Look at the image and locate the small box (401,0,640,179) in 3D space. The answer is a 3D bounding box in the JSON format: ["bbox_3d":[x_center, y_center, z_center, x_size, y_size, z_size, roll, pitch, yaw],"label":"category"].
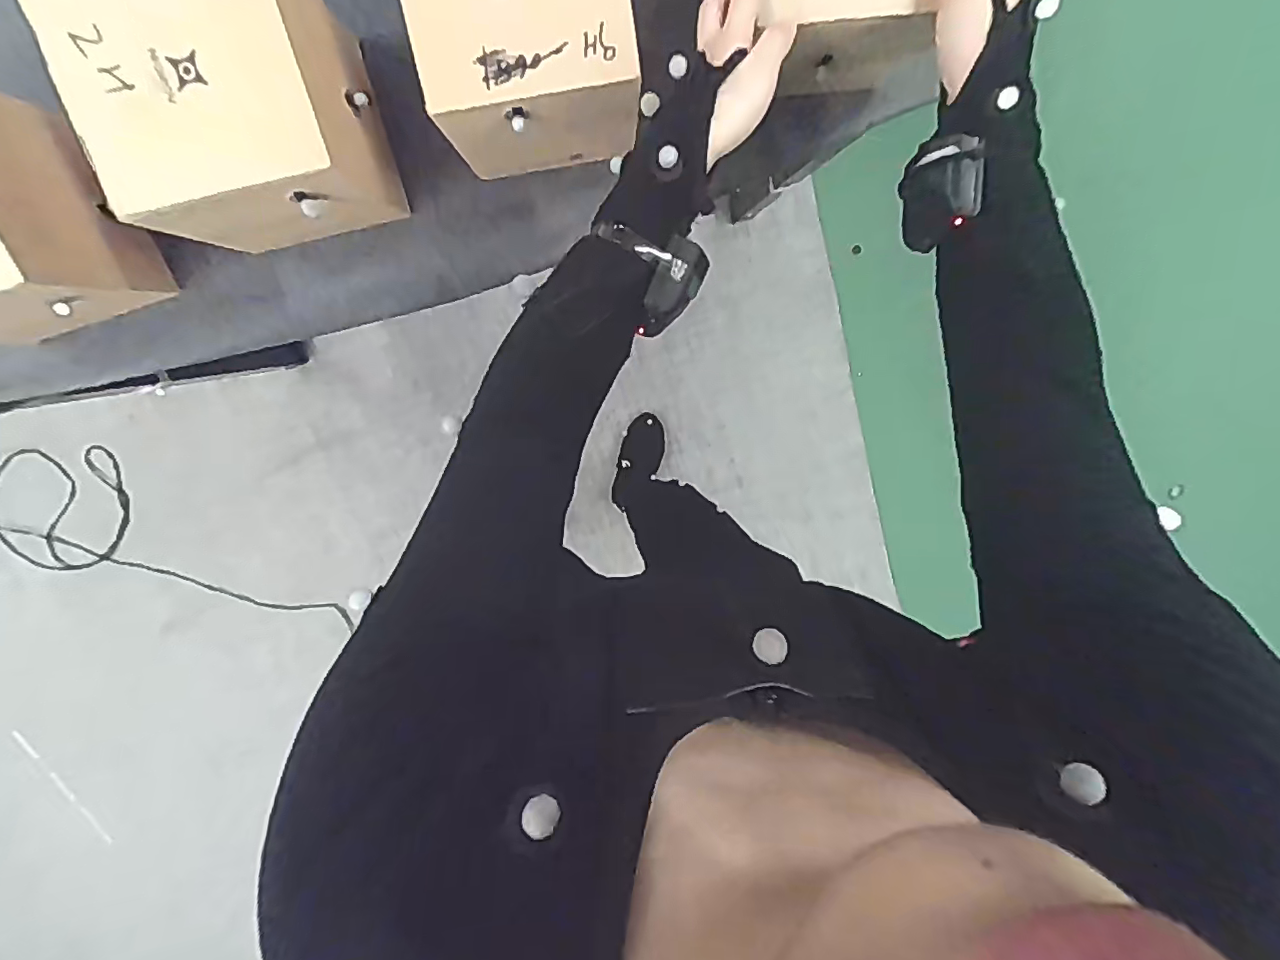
[{"bbox_3d":[-0.095,-0.387,0.461,0.168,0.176,0.179,-9,104,1],"label":"small box"}]

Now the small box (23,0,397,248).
[{"bbox_3d":[-0.337,-0.315,0.471,0.179,0.176,0.168,-13,104,2],"label":"small box"}]

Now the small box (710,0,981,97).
[{"bbox_3d":[0.158,-0.442,0.448,0.179,0.176,0.168,-5,110,-1],"label":"small box"}]
